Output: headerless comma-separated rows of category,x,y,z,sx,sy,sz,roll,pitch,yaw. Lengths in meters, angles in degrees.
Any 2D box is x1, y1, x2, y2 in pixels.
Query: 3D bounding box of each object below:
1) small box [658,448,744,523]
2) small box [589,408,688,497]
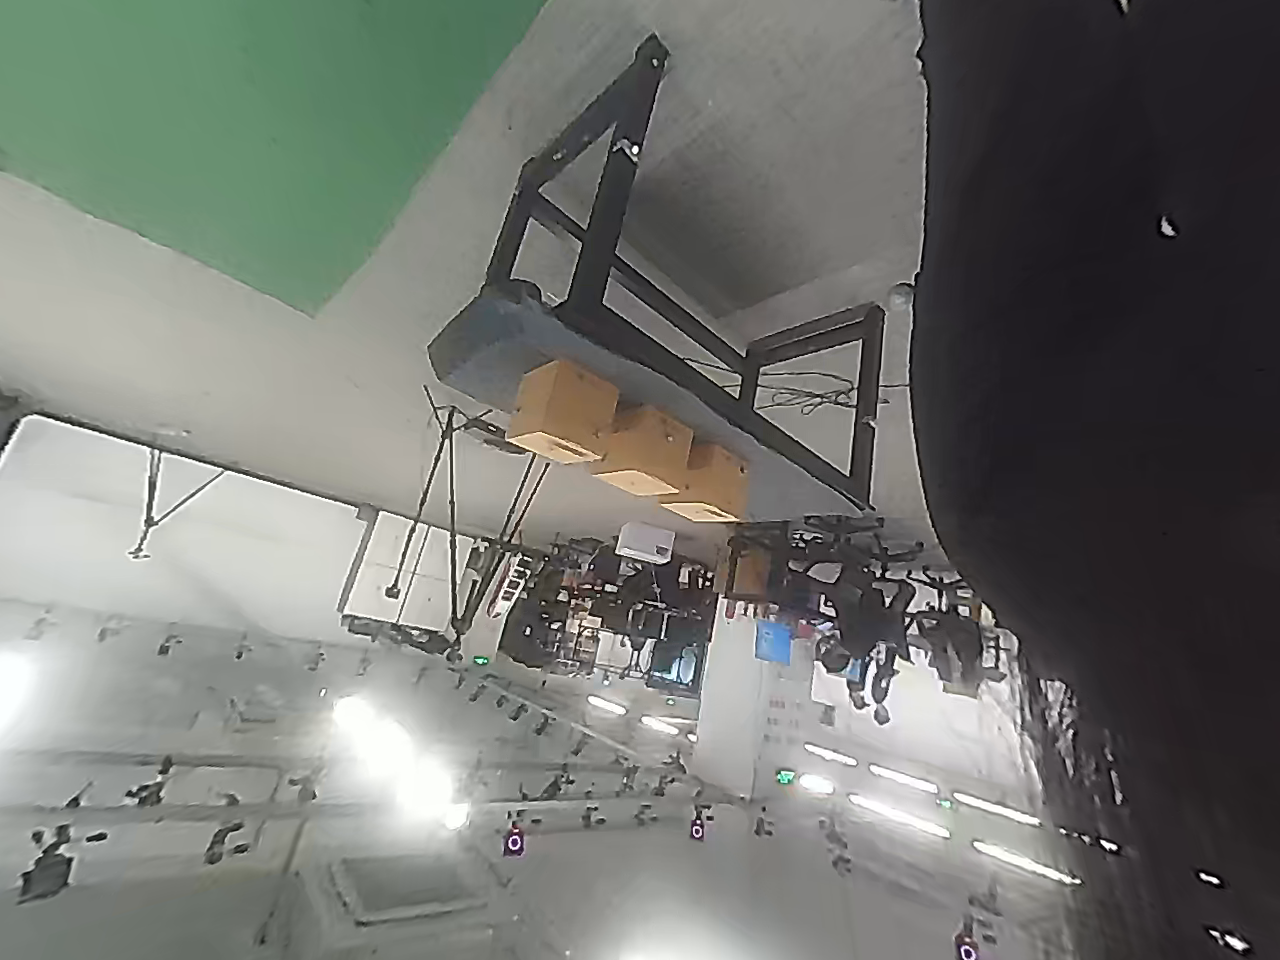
small box,0.176,0.016,1.511,0.168,0.176,0.179,26,160,-38
small box,0.001,-0.065,1.364,0.168,0.176,0.179,24,160,-37
